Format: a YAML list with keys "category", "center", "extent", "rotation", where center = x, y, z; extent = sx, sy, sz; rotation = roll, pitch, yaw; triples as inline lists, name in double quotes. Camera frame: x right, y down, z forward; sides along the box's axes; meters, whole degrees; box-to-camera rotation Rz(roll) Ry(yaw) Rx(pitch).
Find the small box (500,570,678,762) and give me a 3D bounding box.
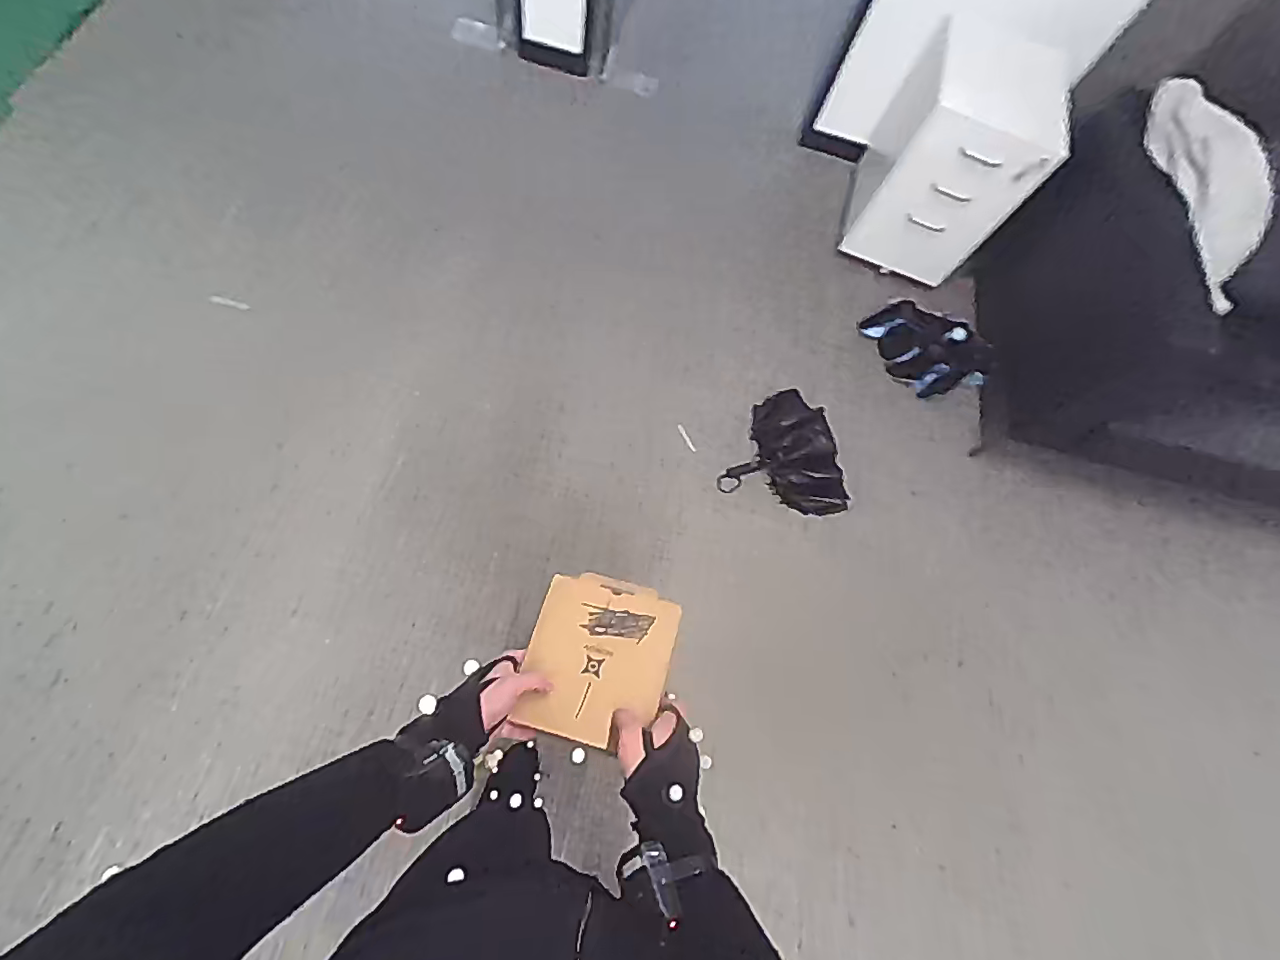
- category: "small box"
  center: [-0.052, 0.240, 0.687]
  extent: [0.168, 0.176, 0.179]
  rotation: [11, 61, 10]
